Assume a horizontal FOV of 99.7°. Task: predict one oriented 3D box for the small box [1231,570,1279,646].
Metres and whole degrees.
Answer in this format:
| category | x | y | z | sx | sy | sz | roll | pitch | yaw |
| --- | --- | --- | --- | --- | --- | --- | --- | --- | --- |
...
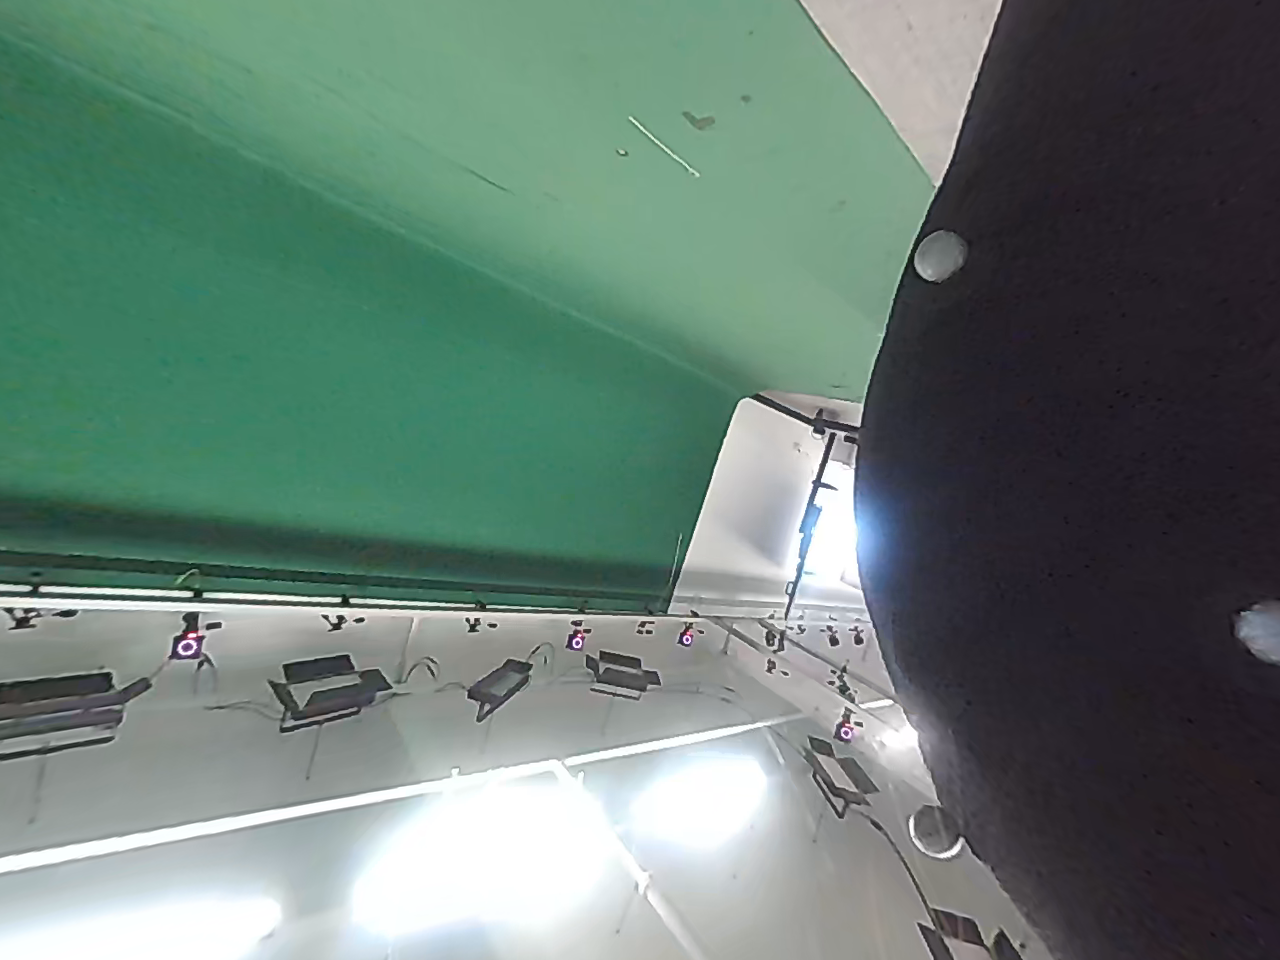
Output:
| category | x | y | z | sx | sy | sz | roll | pitch | yaw |
| --- | --- | --- | --- | --- | --- | --- | --- | --- | --- |
| small box | 1.615 | 0.334 | 1.326 | 0.179 | 0.176 | 0.168 | 16 | -176 | -31 |
